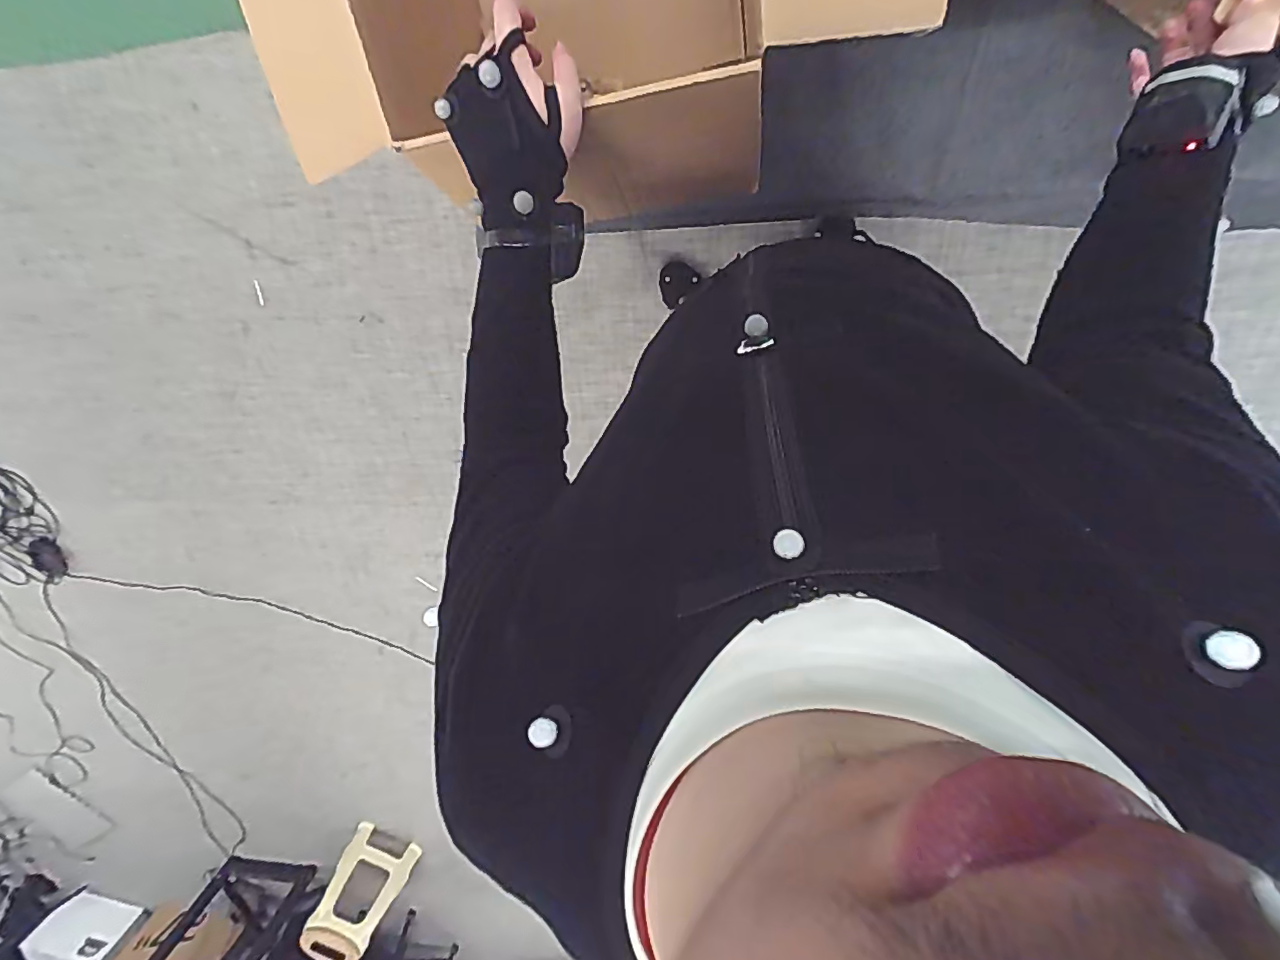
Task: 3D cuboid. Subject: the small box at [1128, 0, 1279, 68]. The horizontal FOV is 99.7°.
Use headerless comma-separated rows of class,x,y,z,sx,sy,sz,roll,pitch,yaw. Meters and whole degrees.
small box,0.572,-0.498,0.460,0.168,0.176,0.179,31,118,-5
